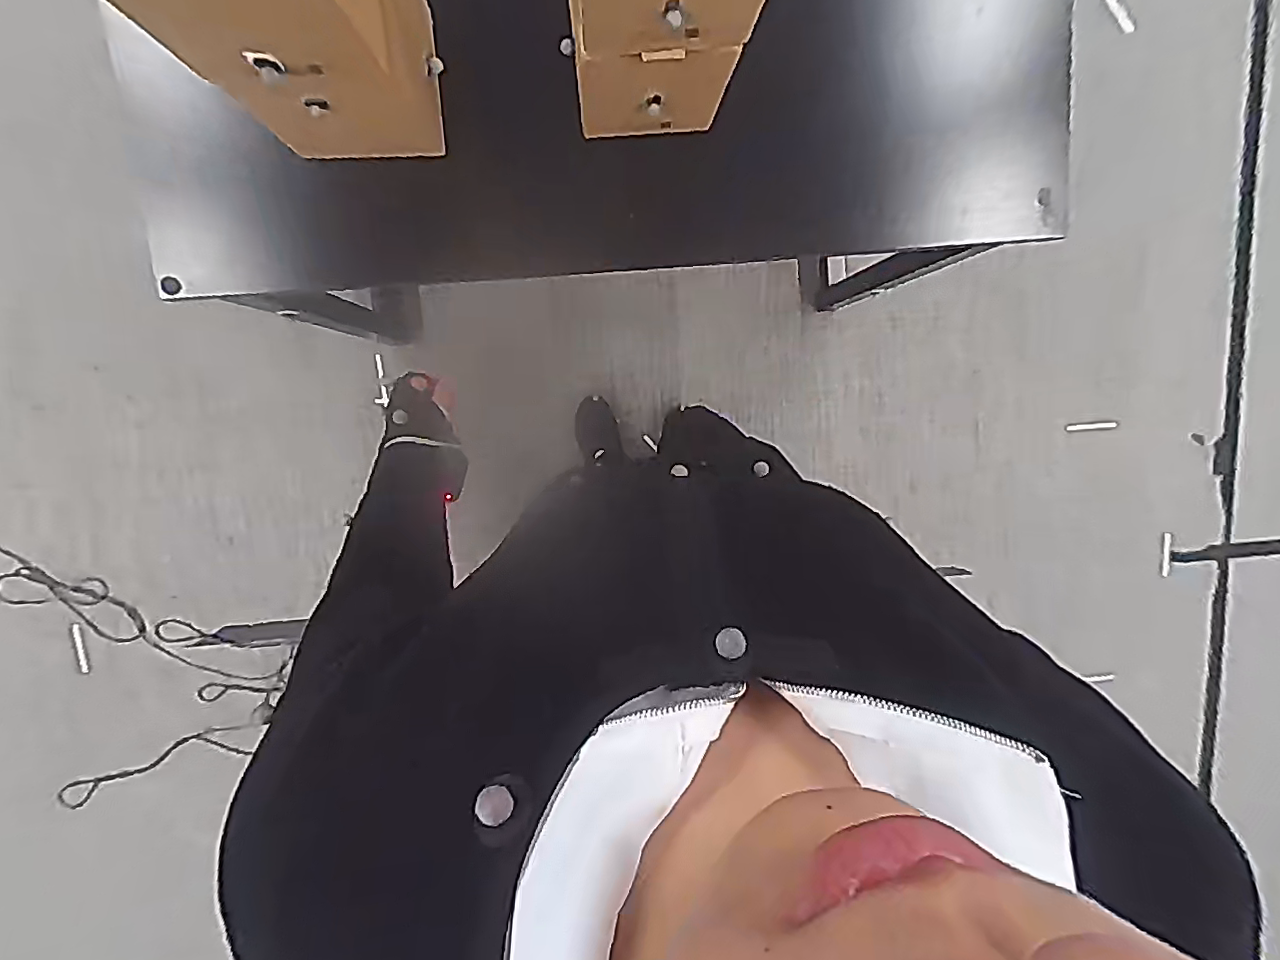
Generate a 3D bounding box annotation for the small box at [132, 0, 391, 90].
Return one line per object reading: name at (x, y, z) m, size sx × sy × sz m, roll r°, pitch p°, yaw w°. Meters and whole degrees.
small box at (-0.318, -0.449, 0.425) m, size 0.168 × 0.176 × 0.179 m, roll -5°, pitch 99°, yaw -3°

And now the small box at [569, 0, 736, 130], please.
small box at (0.005, -0.522, 0.608) m, size 0.168 × 0.176 × 0.179 m, roll -6°, pitch 98°, yaw -4°

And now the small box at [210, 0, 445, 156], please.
small box at (-0.329, -0.473, 0.585) m, size 0.179 × 0.176 × 0.168 m, roll -4°, pitch 98°, yaw -5°

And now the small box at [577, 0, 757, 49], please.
small box at (0.021, -0.505, 0.443) m, size 0.168 × 0.176 × 0.179 m, roll -7°, pitch 98°, yaw -3°
